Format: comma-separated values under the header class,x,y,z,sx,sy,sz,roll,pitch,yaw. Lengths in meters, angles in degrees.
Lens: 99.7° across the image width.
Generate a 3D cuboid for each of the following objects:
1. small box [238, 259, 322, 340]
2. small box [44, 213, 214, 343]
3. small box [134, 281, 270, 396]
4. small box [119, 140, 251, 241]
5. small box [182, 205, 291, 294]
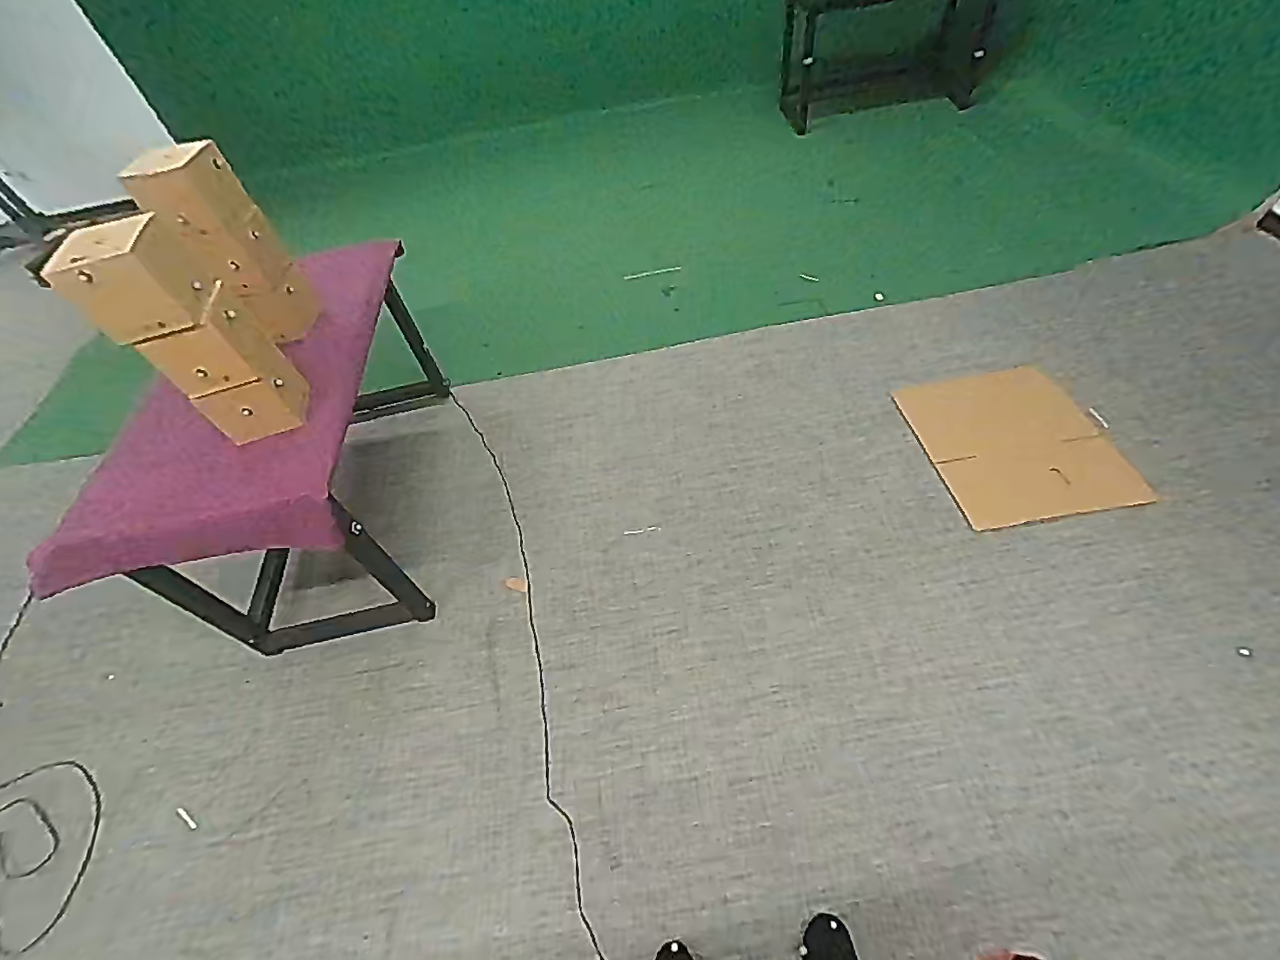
class,x,y,z,sx,sy,sz,roll,pitch,yaw
small box,-1.109,-0.540,1.643,0.168,0.176,0.179,-6,51,4
small box,-1.029,-0.412,1.112,0.168,0.176,0.179,-17,52,-3
small box,-0.994,-0.324,1.247,0.168,0.176,0.179,-17,52,-4
small box,-1.148,-0.738,1.385,0.168,0.176,0.179,-7,52,3
small box,-1.125,-0.639,1.515,0.168,0.176,0.179,-6,52,3
